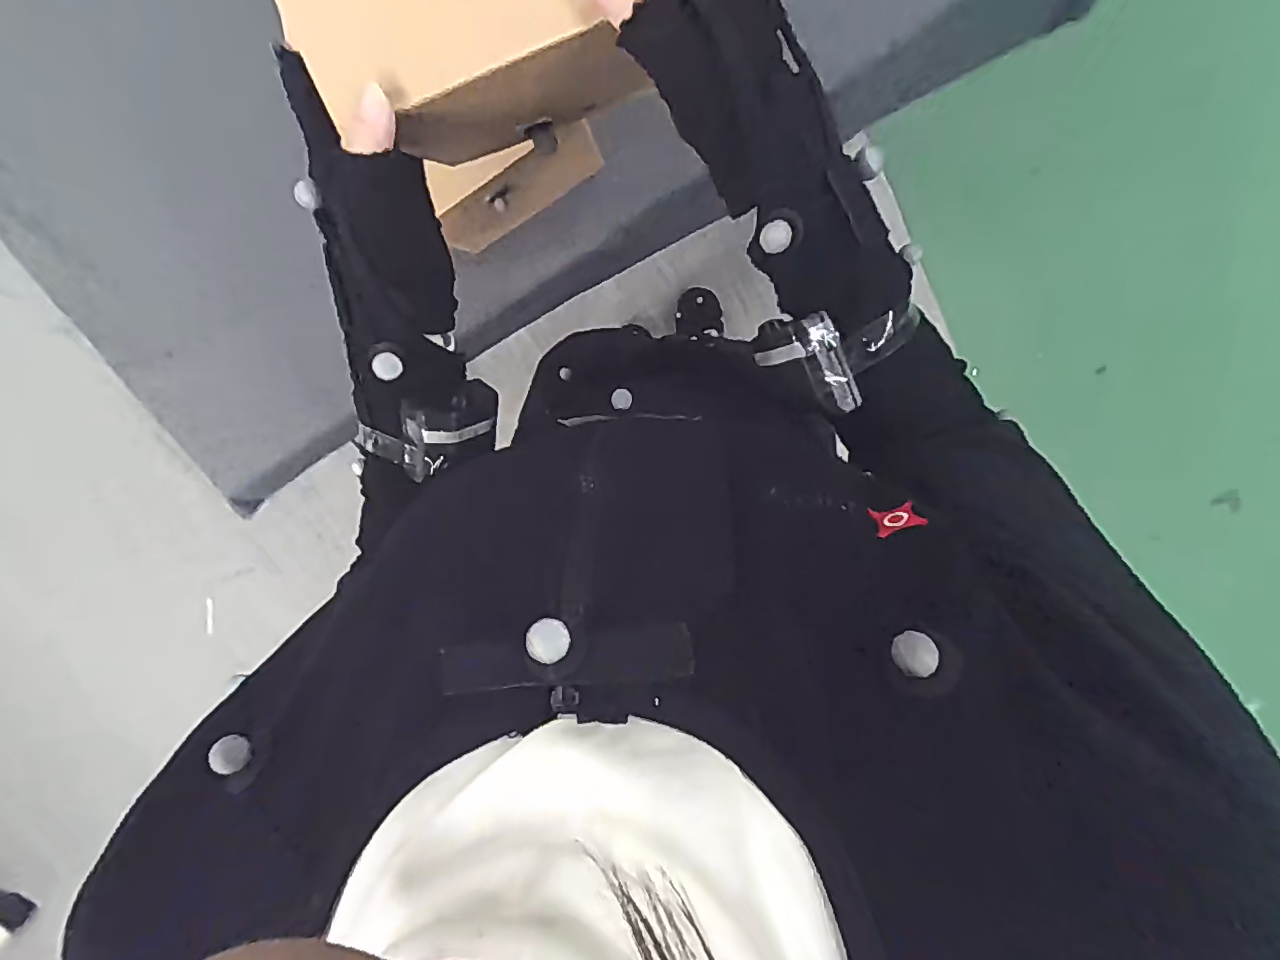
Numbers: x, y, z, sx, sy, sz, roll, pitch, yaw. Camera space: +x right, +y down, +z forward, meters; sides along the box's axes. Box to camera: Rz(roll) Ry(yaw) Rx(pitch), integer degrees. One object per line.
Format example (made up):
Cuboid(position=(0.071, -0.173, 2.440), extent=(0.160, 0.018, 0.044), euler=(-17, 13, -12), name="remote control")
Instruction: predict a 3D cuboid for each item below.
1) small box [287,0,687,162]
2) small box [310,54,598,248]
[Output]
Cuboid(position=(-0.080, -0.291, 0.276), extent=(0.168, 0.176, 0.179), euler=(-15, 114, 9), name="small box")
Cuboid(position=(-0.158, -0.350, 0.528), extent=(0.179, 0.176, 0.168), euler=(-29, 105, 11), name="small box")
